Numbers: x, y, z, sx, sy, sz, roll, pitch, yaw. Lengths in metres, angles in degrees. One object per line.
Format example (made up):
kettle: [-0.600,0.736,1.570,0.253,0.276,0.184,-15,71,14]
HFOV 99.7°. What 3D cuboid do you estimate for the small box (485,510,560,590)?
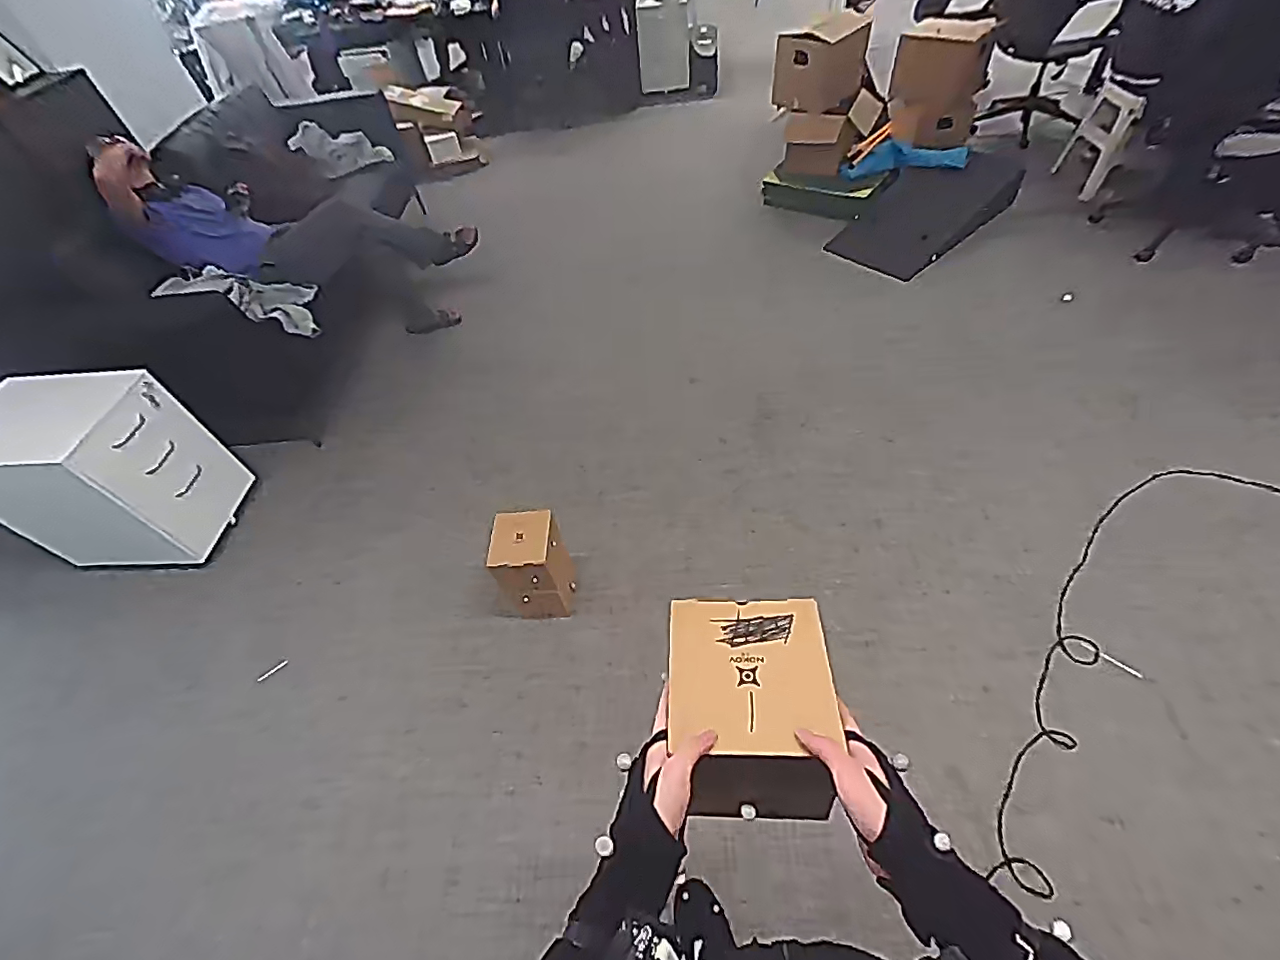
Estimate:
small box: [-0.331,0.210,1.567,0.168,0.176,0.179,-4,50,3]

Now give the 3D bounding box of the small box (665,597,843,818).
small box: [0.118,0.253,0.613,0.168,0.176,0.179,-3,41,7]

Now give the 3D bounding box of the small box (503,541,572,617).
small box: [-0.313,0.312,1.692,0.168,0.176,0.179,-3,50,5]
